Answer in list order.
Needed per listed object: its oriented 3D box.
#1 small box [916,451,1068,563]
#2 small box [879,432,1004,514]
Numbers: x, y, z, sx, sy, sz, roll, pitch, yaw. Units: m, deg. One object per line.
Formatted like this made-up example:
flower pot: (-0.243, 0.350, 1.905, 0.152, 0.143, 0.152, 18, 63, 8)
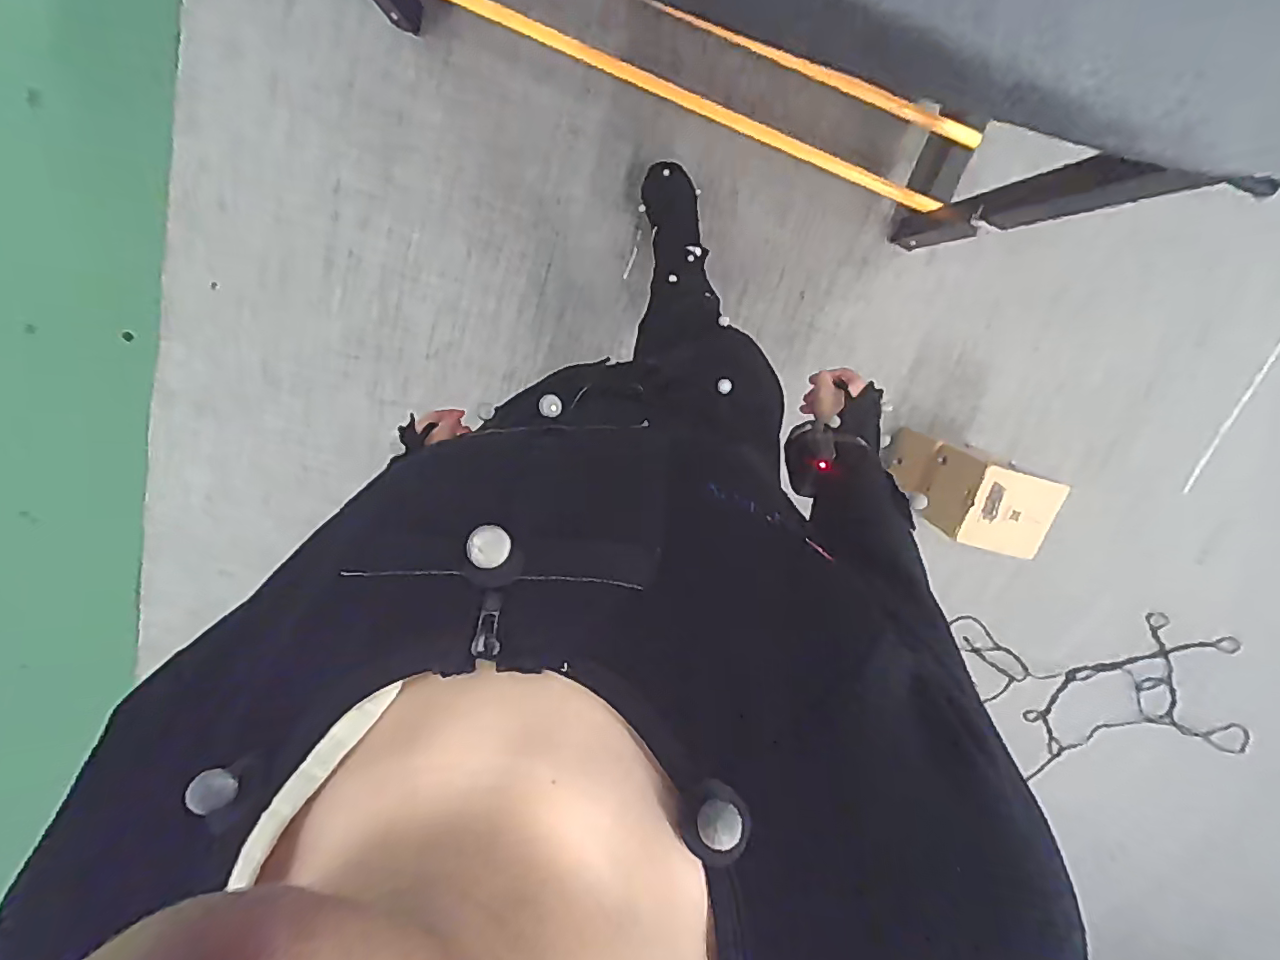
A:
small box: (0.720, 0.048, 1.131, 0.179, 0.176, 0.168, 14, 107, -6)
small box: (0.708, -0.007, 1.286, 0.179, 0.176, 0.168, 14, 106, -4)
